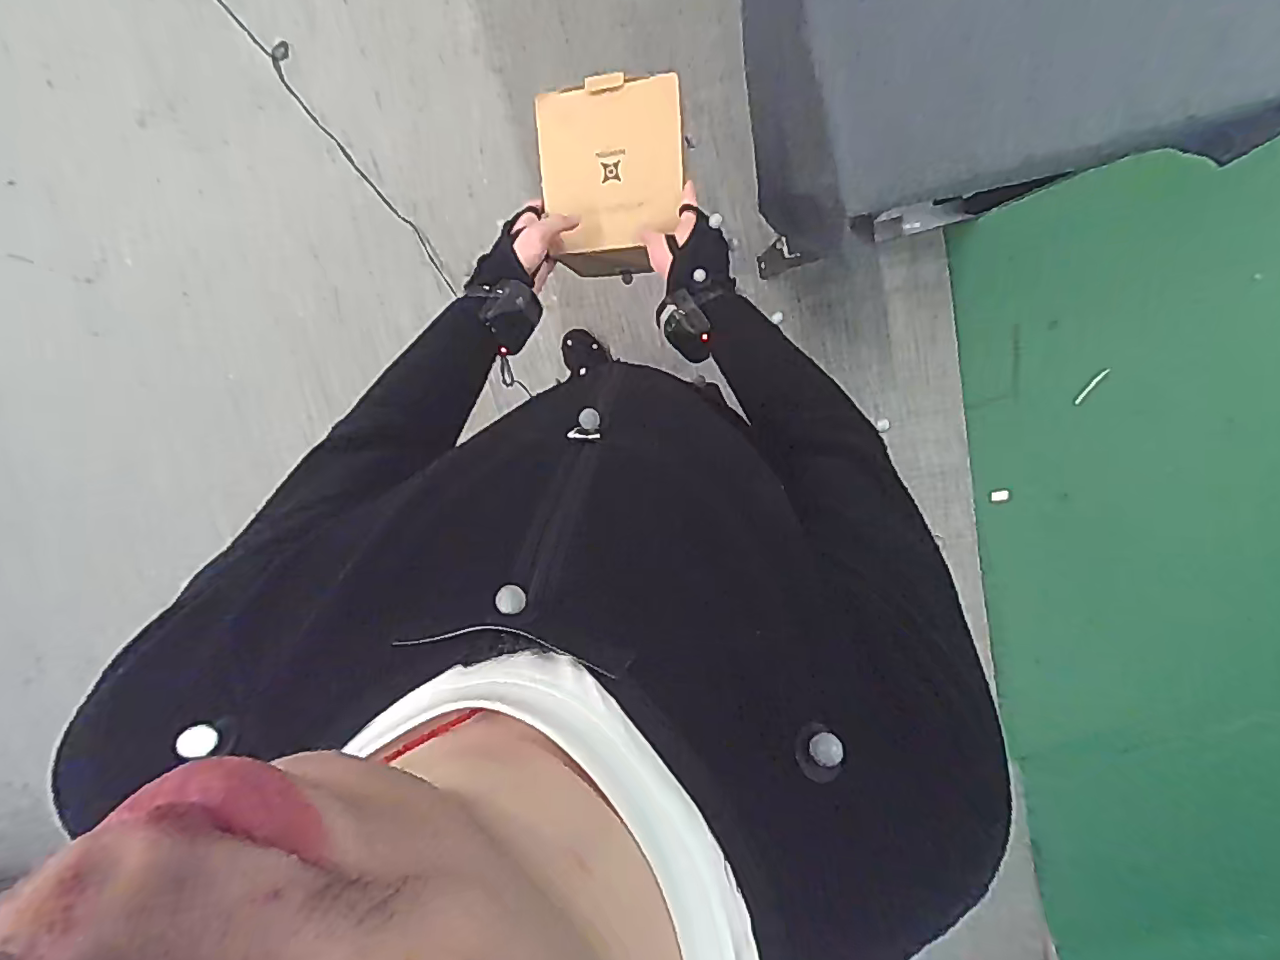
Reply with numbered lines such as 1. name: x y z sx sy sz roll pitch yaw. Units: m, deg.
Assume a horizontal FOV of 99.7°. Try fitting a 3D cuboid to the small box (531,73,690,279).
1. small box: -0.027 -0.361 0.676 0.168 0.176 0.179 1 101 10
